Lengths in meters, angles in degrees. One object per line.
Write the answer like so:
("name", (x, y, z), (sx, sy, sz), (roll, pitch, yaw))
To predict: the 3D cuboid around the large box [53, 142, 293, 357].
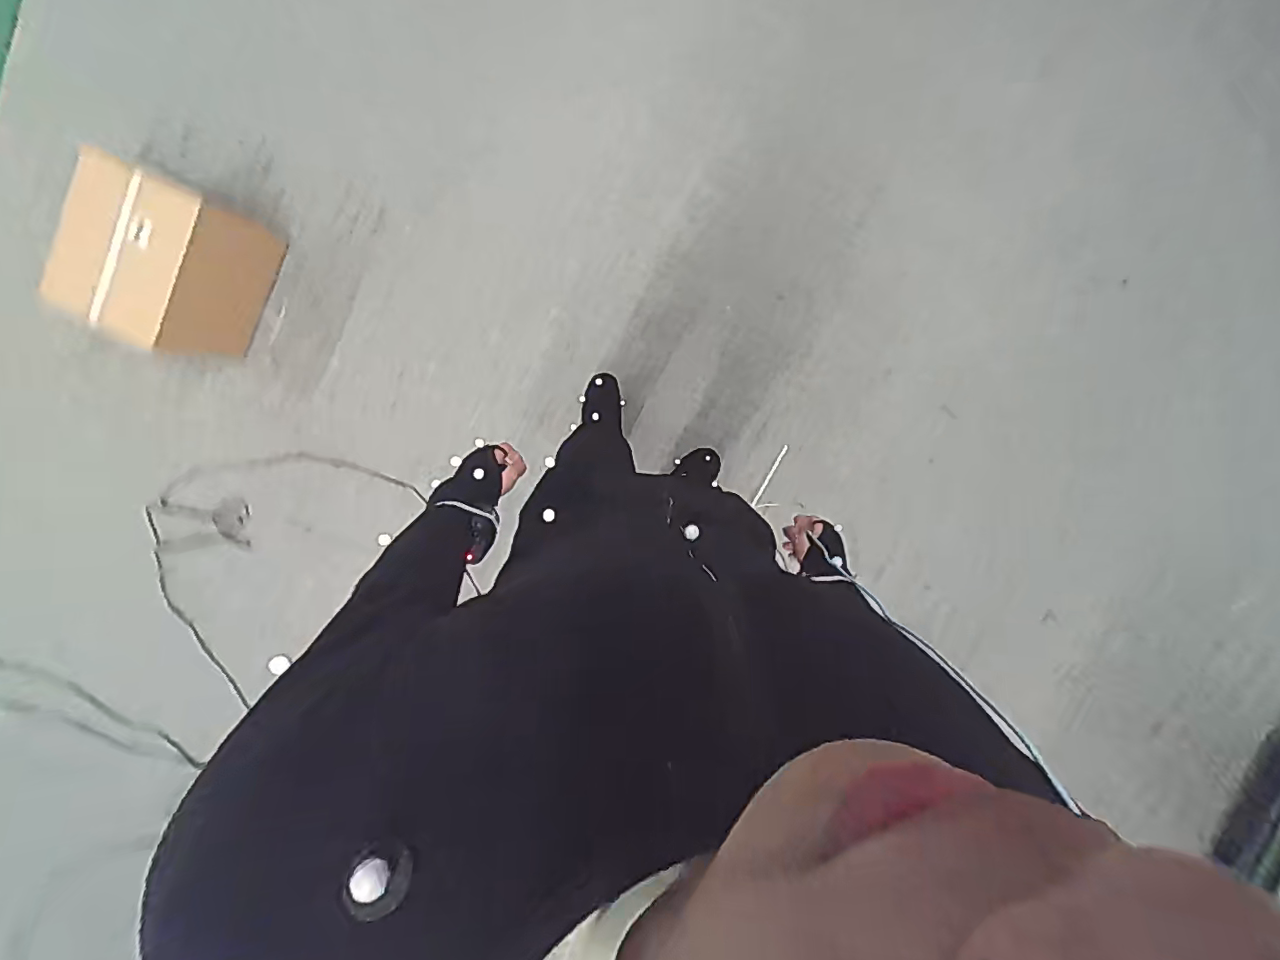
("large box", (-1.250, -0.594, 1.480), (0.320, 0.320, 0.408), (27, 98, -1))
